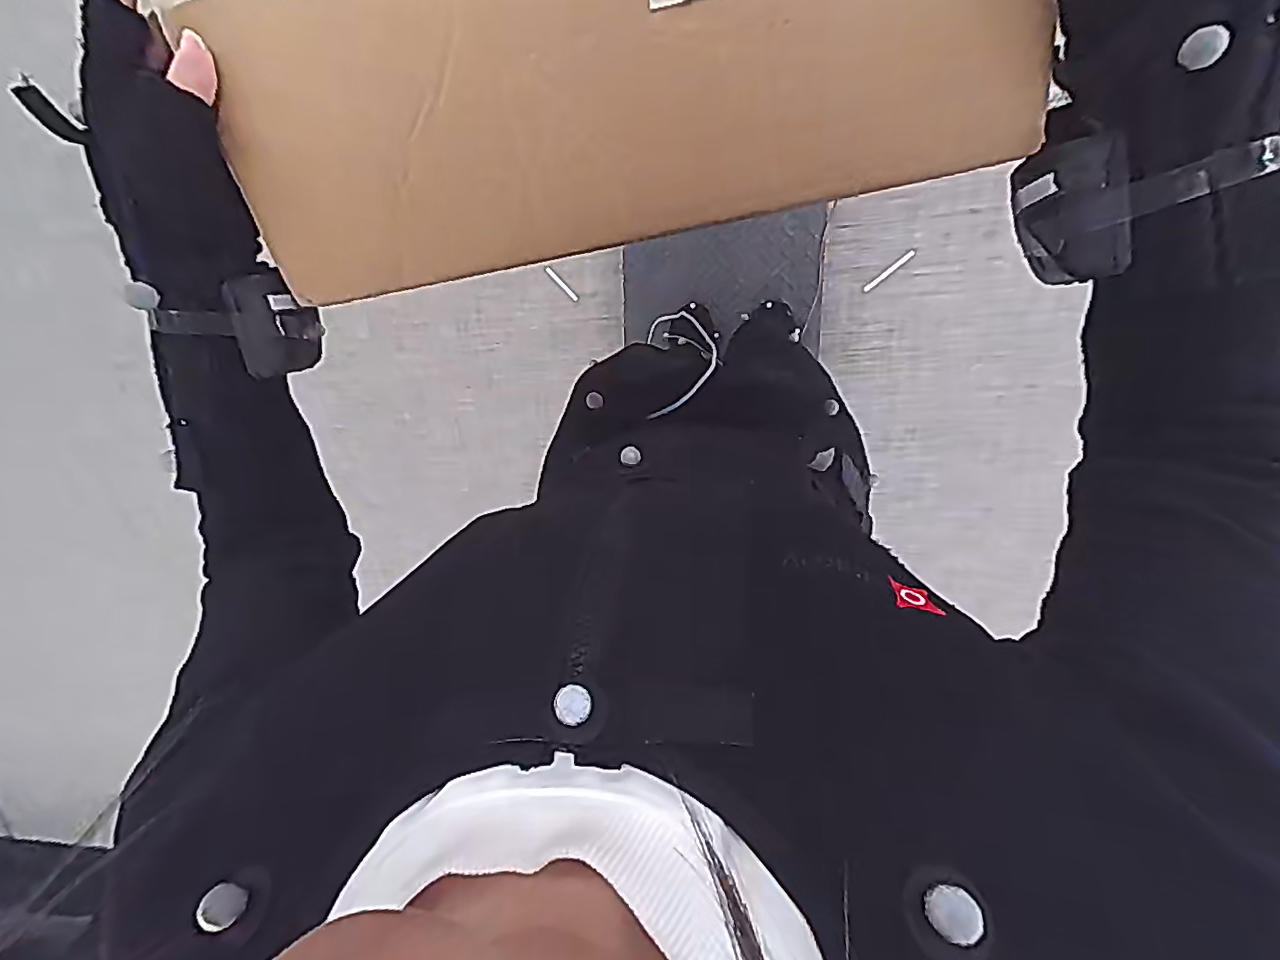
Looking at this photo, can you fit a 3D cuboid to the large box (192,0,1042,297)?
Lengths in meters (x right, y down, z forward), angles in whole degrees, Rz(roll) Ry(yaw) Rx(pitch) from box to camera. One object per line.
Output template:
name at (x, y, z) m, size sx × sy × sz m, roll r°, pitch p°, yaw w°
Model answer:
large box at (-0.019, -0.342, 0.363) m, size 0.408 × 0.320 × 0.320 m, roll -7°, pitch 118°, yaw 12°
